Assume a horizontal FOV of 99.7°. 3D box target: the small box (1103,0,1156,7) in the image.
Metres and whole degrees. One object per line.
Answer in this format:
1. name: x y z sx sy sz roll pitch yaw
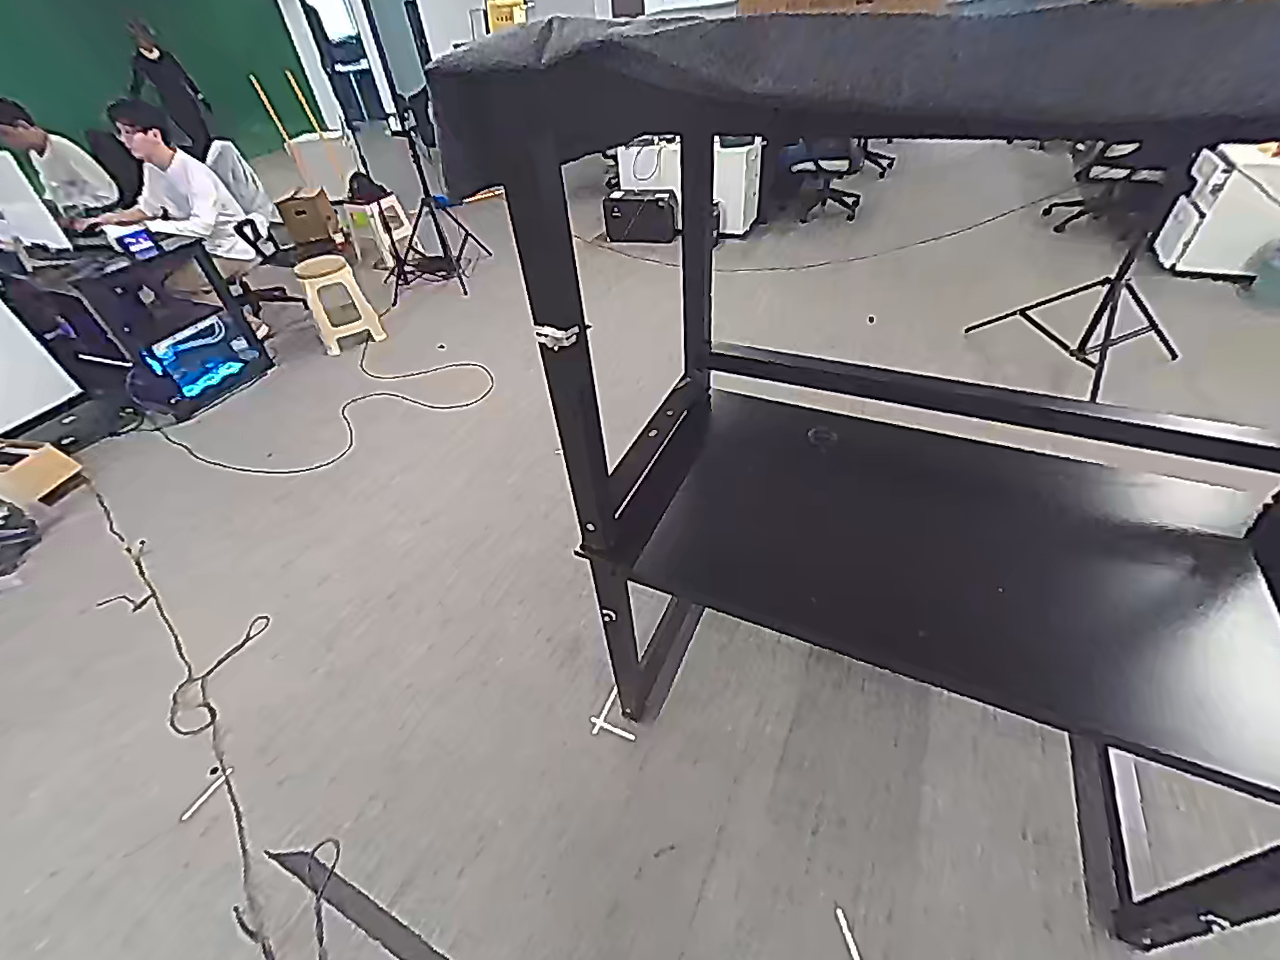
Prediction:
1. small box: 0.449 -0.439 0.365 0.168 0.176 0.179 15 44 21

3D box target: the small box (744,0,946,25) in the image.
1. small box: 0.183 -0.495 0.452 0.168 0.176 0.179 9 43 16
